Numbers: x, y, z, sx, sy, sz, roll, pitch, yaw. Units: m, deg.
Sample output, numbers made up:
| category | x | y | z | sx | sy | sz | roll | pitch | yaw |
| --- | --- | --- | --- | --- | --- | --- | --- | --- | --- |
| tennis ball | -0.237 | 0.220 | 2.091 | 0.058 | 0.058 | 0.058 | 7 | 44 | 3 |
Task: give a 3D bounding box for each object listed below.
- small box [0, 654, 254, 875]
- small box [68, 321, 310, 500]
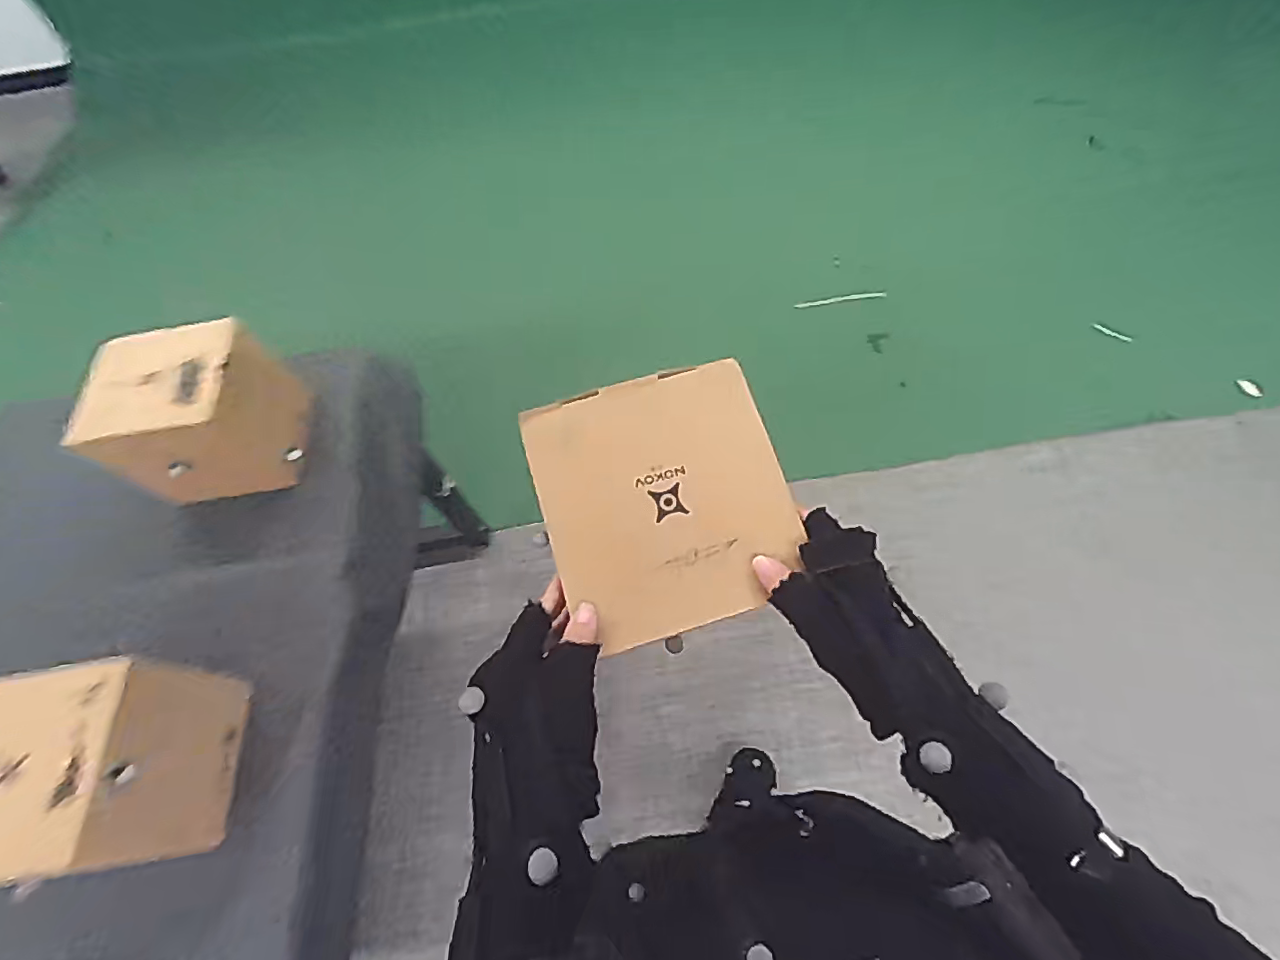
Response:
| category | x | y | z | sx | sy | sz | roll | pitch | yaw |
| --- | --- | --- | --- | --- | --- | --- | --- | --- | --- |
| small box | -0.542 | 0.286 | 0.542 | 0.179 | 0.176 | 0.168 | -10 | 62 | 0 |
| small box | -0.593 | -0.088 | 0.743 | 0.179 | 0.176 | 0.168 | -10 | 62 | 1 |
